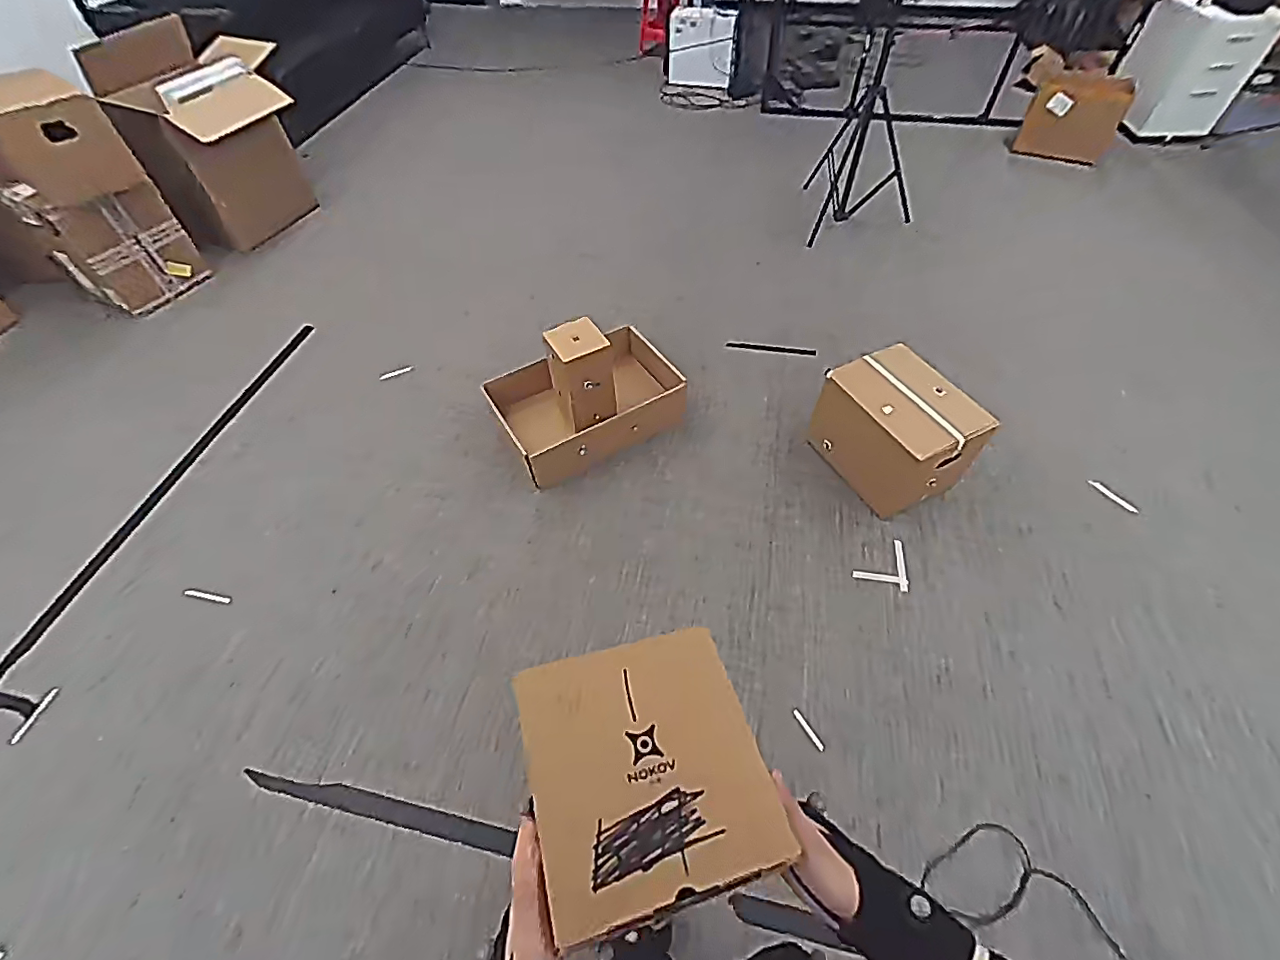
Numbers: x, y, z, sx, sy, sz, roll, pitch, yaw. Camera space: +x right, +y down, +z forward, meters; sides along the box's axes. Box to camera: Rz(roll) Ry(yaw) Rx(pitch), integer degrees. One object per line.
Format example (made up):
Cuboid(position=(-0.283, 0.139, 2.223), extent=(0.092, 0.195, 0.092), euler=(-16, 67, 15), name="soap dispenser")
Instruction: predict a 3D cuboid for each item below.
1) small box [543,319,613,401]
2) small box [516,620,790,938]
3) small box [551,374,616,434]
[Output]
Cuboid(position=(-0.202, -0.394, 1.783), extent=(0.168, 0.176, 0.179), euler=(-26, 57, -16), name="small box")
Cuboid(position=(-0.004, 0.248, 0.451), extent=(0.168, 0.176, 0.179), euler=(-9, 49, -14), name="small box")
Cuboid(position=(-0.197, -0.294, 1.911), extent=(0.168, 0.176, 0.179), euler=(-25, 56, -15), name="small box")
